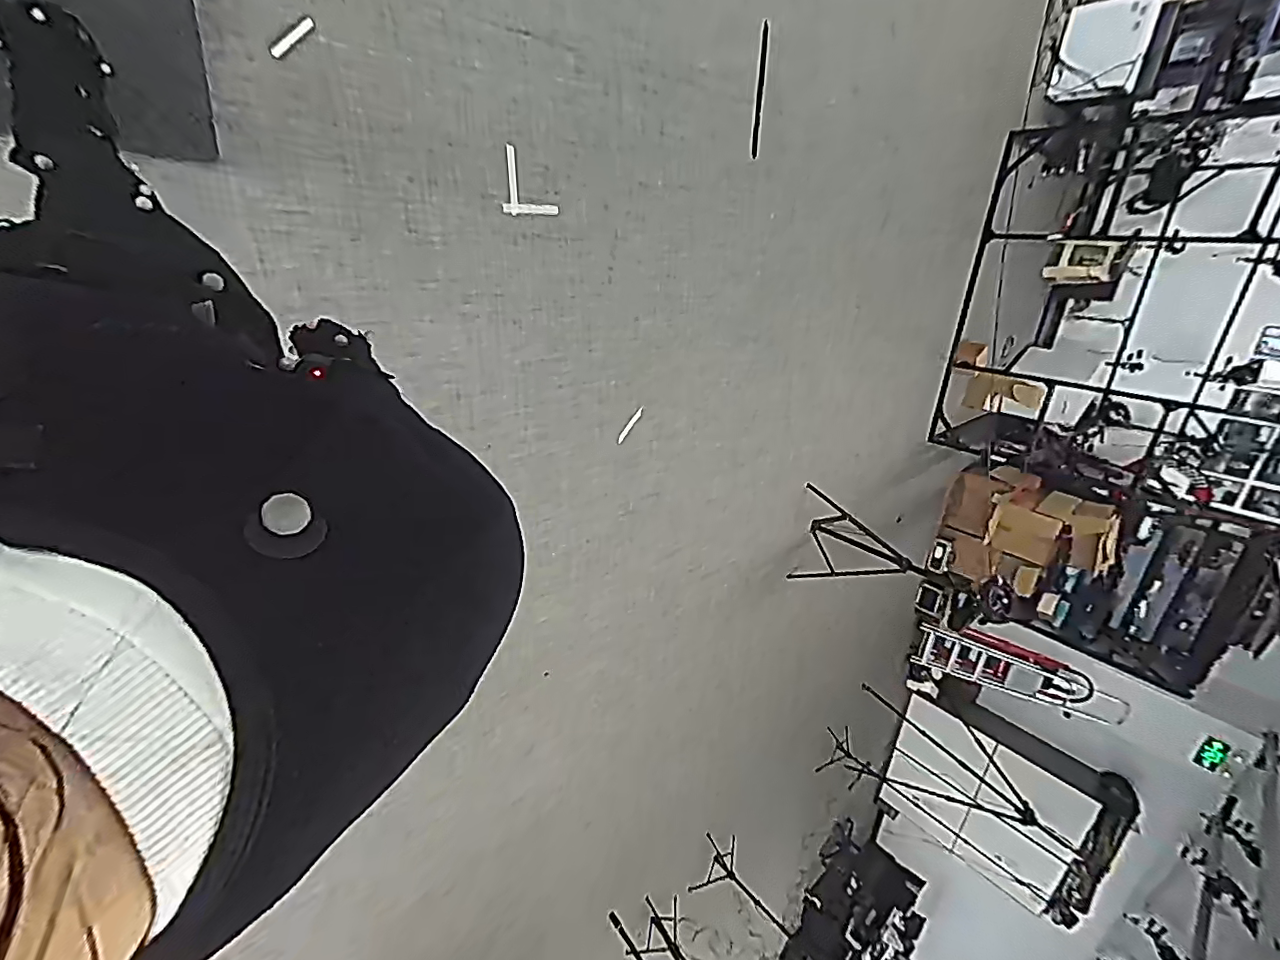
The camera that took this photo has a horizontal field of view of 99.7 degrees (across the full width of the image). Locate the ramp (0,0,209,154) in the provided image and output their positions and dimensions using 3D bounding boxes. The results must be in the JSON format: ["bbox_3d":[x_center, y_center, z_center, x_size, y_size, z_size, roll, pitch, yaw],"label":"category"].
[{"bbox_3d":[-0.901,-0.994,0.637,0.509,0.206,0.991,-17,121,-40],"label":"ramp"}]
